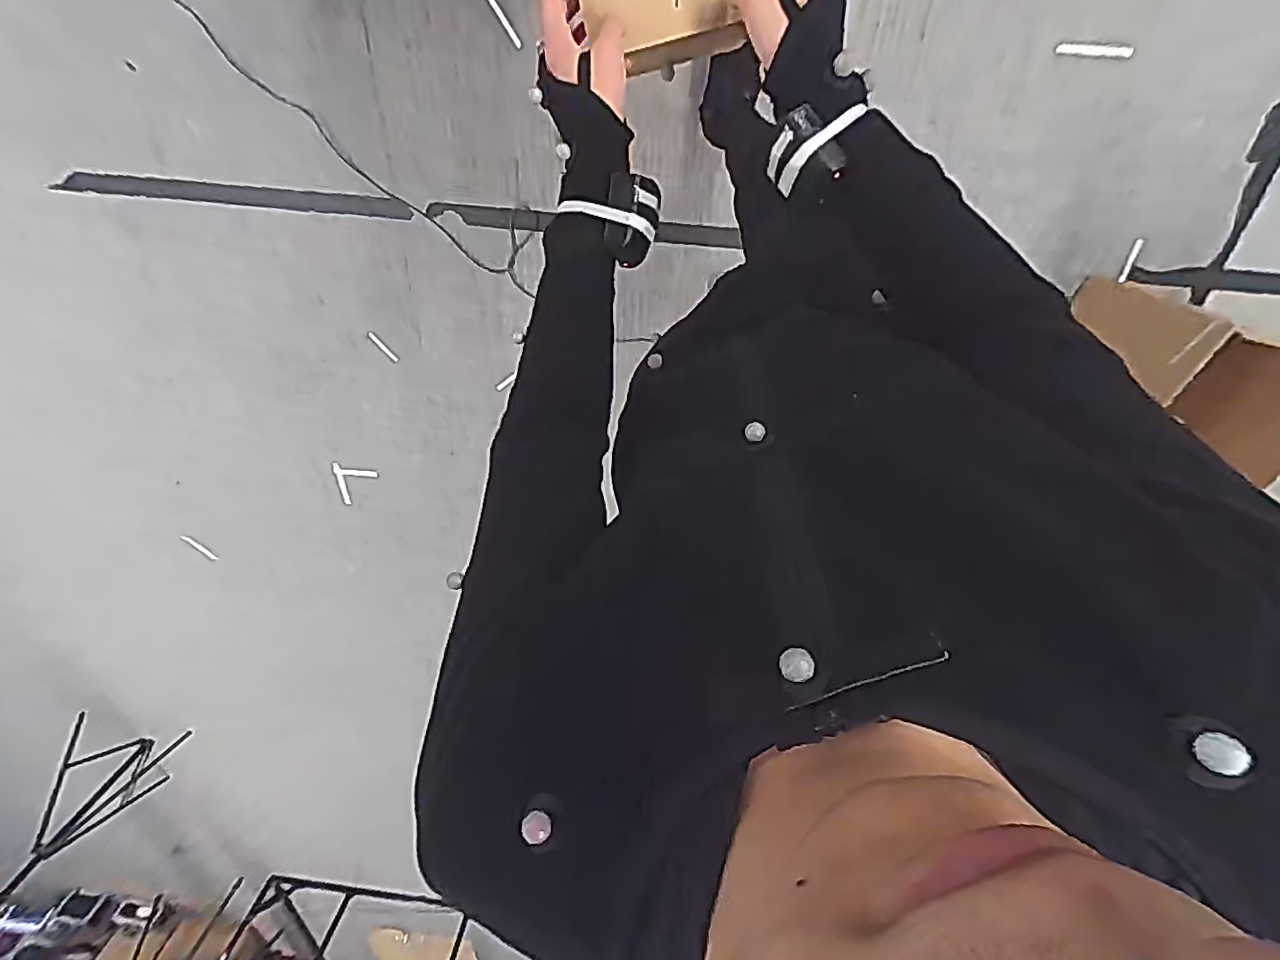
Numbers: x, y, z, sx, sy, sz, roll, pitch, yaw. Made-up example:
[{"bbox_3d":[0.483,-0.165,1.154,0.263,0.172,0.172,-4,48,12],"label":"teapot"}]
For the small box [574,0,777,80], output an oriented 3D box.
[{"bbox_3d":[0.013,-0.490,0.481,0.168,0.176,0.179,-12,120,4],"label":"small box"}]
